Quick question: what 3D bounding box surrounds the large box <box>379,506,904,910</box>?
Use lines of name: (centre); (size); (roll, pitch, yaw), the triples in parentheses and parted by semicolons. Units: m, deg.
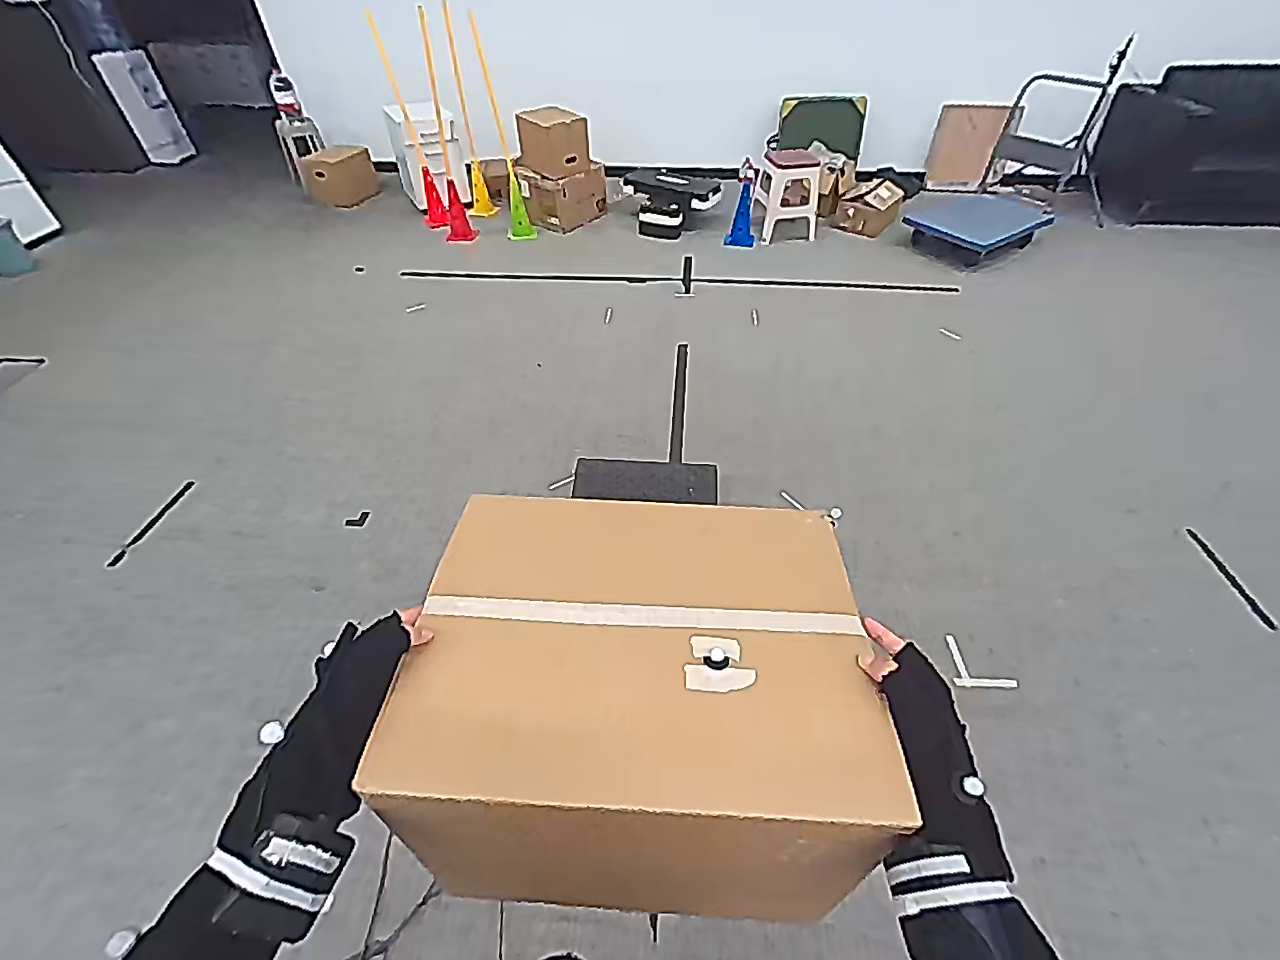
large box: (0.001, 0.250, 0.610); (0.408, 0.320, 0.320); (3, 41, 2)
